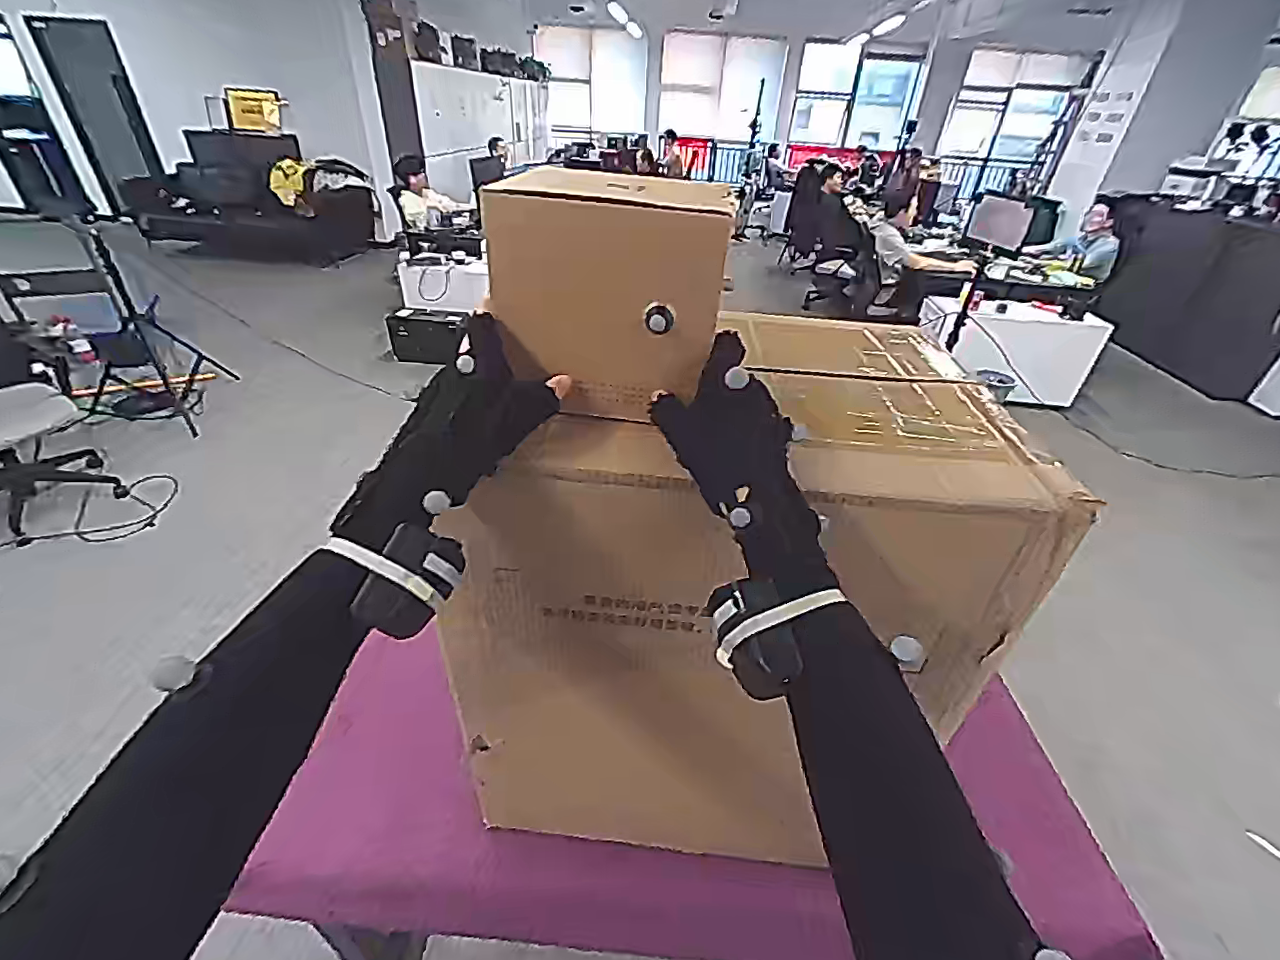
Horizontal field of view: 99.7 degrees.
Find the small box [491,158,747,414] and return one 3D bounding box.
[{"bbox_3d":[-0.011,-0.170,0.470,0.179,0.176,0.168,6,34,4],"label":"small box"}]
